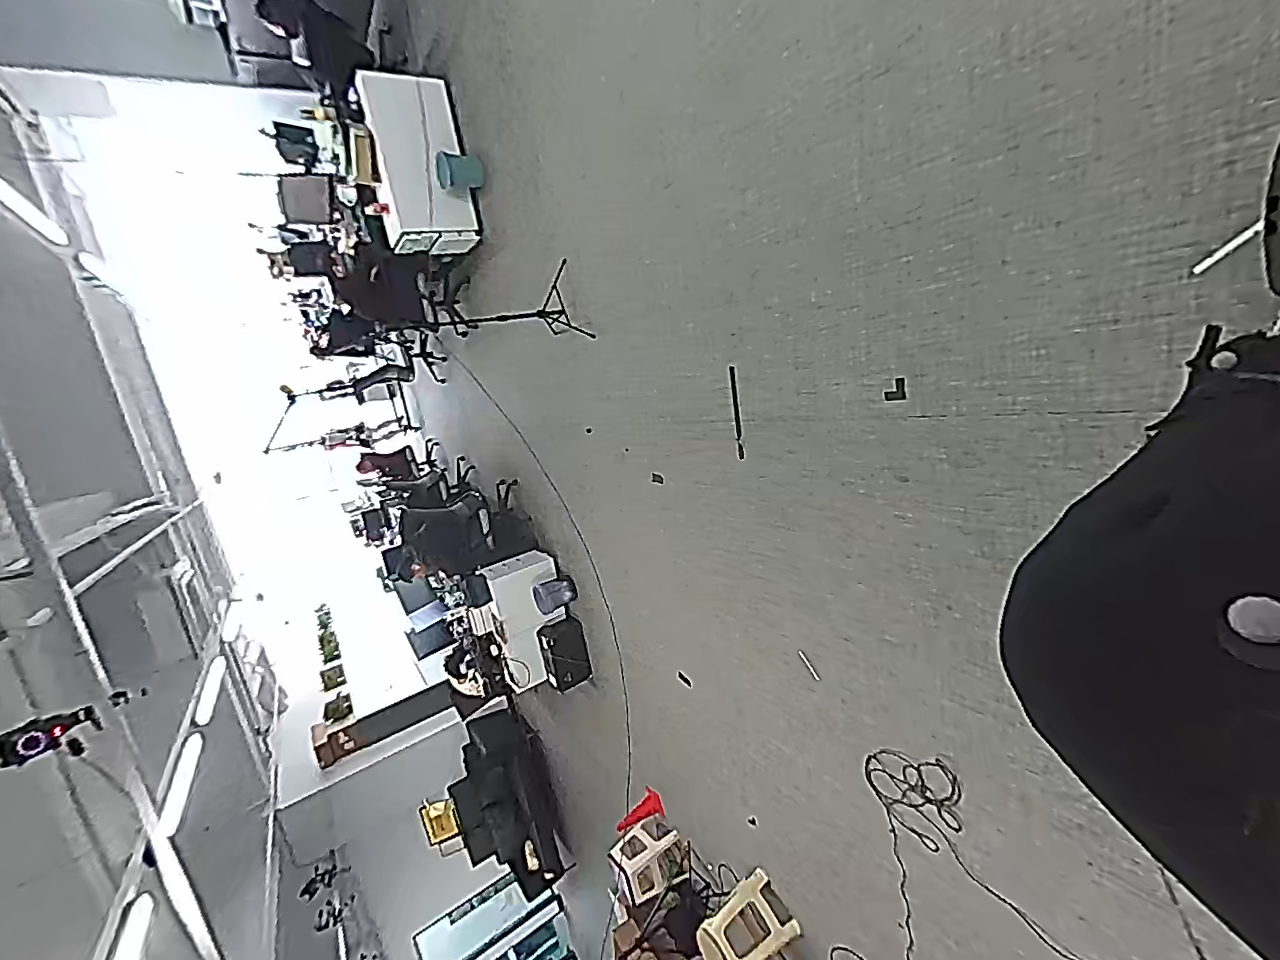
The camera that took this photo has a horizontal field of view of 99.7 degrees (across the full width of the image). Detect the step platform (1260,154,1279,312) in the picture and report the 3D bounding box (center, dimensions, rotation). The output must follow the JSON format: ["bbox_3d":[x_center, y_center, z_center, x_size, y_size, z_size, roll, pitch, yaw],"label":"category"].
[{"bbox_3d":[1.277,-0.405,0.660,0.684,0.204,0.286,7,112,56],"label":"step platform"}]
